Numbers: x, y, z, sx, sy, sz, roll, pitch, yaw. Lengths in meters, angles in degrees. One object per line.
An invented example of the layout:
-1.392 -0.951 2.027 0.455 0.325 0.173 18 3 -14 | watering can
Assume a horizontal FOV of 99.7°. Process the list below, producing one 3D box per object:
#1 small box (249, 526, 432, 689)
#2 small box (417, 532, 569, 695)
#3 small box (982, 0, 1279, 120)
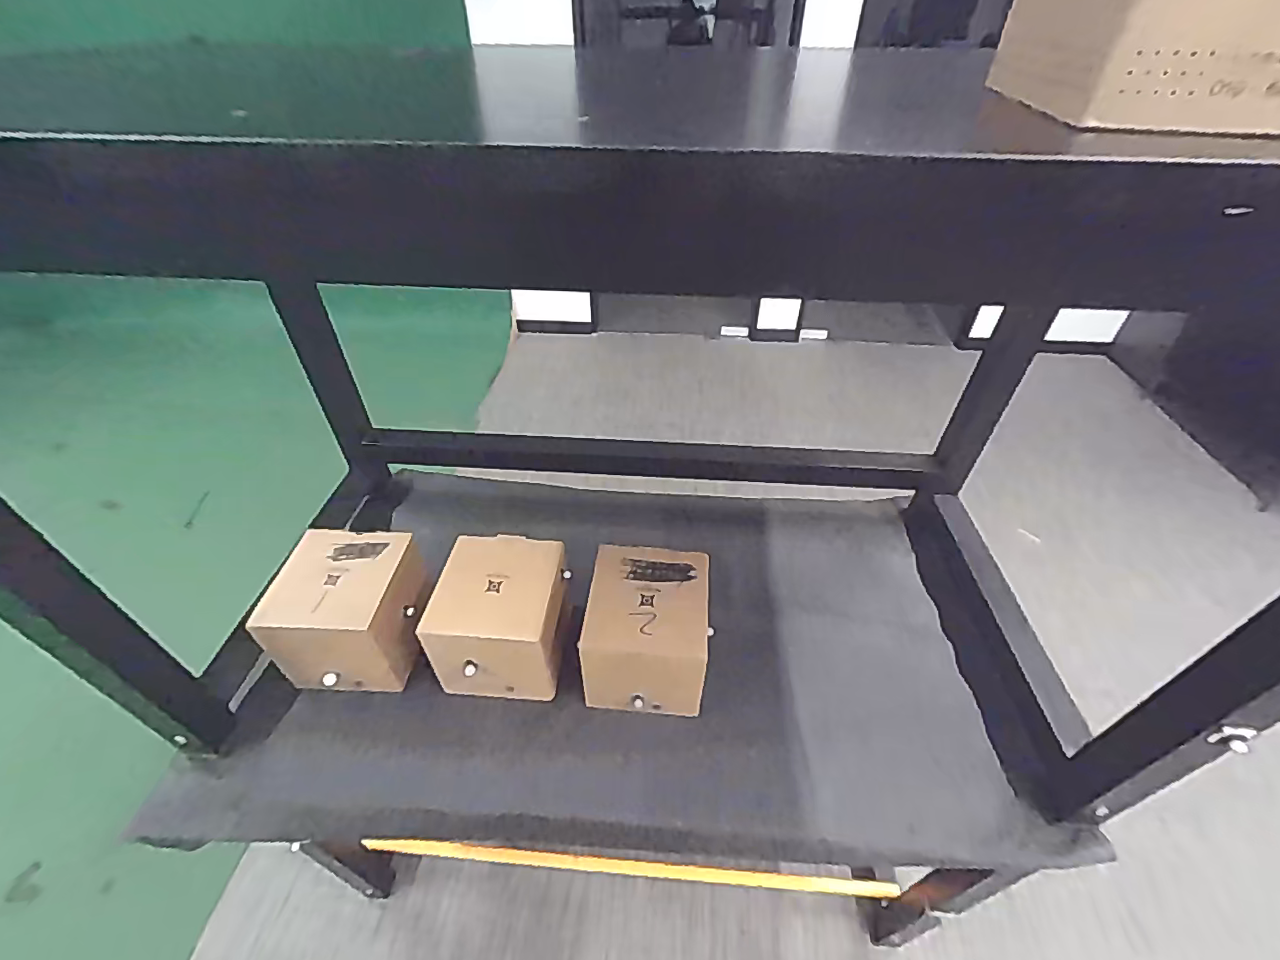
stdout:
-0.431 0.191 0.820 0.168 0.176 0.179 2 42 1 | small box
-0.204 0.201 0.814 0.168 0.176 0.179 4 41 3 | small box
0.286 -0.267 0.236 0.168 0.176 0.179 9 42 10 | small box
